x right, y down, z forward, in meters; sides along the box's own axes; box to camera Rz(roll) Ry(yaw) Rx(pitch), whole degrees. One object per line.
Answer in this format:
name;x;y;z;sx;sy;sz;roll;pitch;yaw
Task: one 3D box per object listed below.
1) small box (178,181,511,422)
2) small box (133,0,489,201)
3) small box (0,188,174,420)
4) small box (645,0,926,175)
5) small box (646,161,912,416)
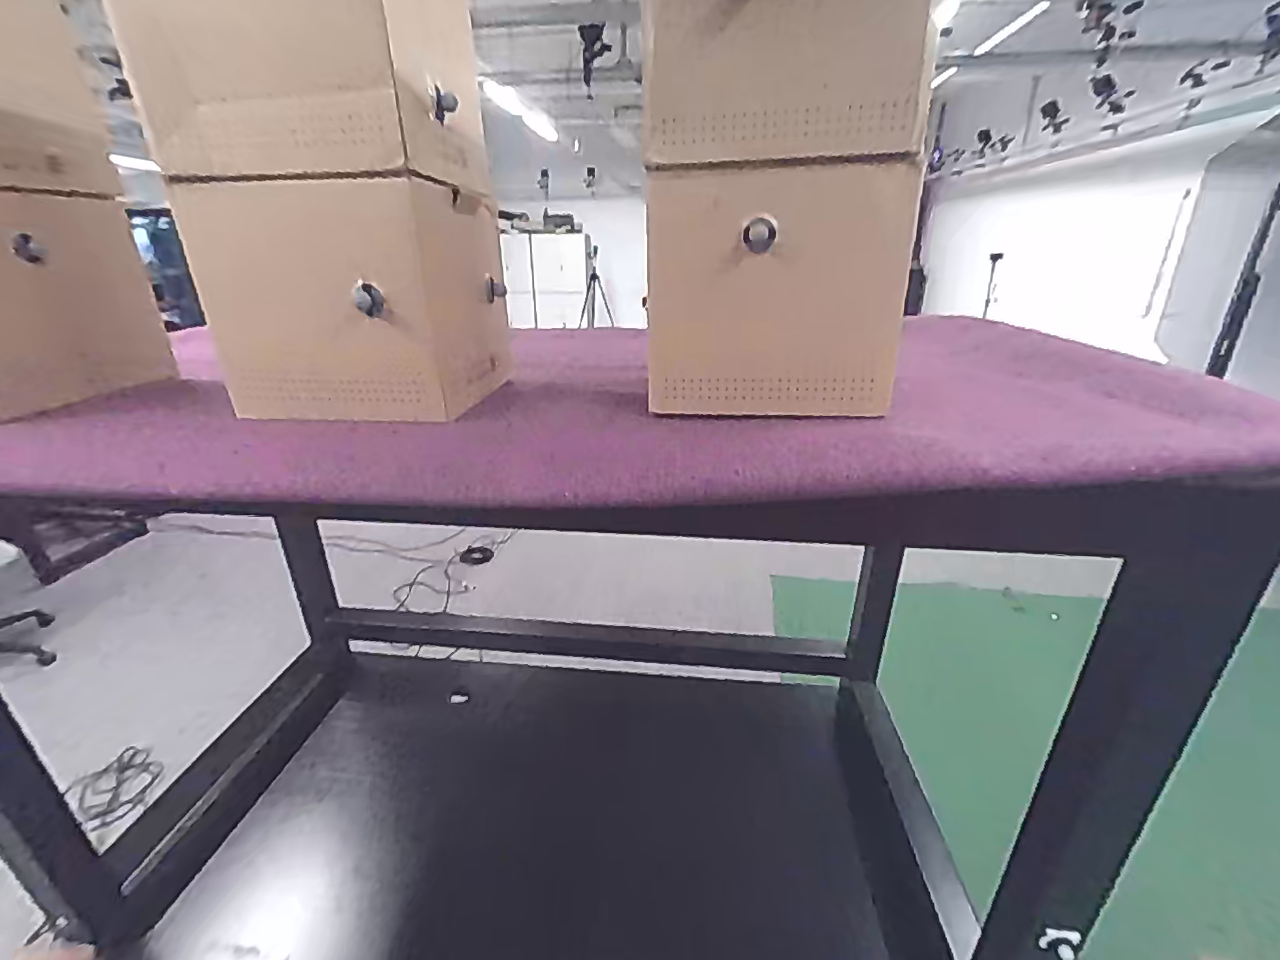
small box;-0.221;-0.149;0.463;0.179;0.176;0.168;1;22;5
small box;-0.228;-0.301;0.403;0.179;0.176;0.168;1;22;3
small box;-0.564;-0.153;0.465;0.168;0.176;0.179;2;23;3
small box;0.097;-0.306;0.398;0.179;0.176;0.168;1;21;8
small box;0.102;-0.151;0.454;0.179;0.176;0.168;2;21;7
